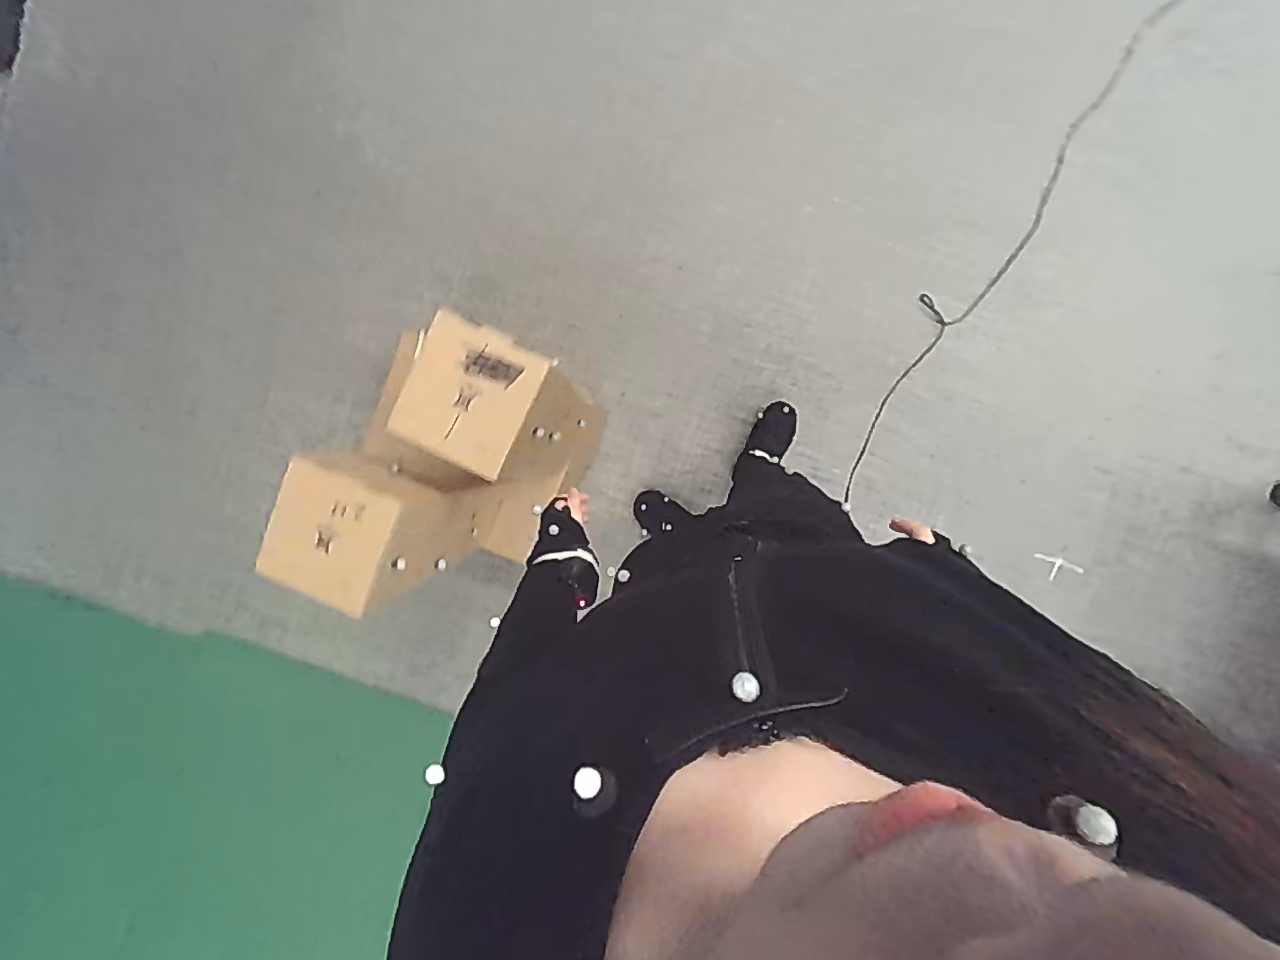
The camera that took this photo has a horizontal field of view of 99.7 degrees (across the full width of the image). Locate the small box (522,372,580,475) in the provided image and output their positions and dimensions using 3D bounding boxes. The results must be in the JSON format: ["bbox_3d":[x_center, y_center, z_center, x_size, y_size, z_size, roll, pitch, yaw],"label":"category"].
[{"bbox_3d":[-0.215,-0.124,0.948,0.168,0.176,0.179,26,95,2],"label":"small box"}]

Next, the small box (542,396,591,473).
[{"bbox_3d":[-0.216,-0.128,1.110,0.179,0.176,0.168,25,94,3],"label":"small box"}]

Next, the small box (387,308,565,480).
[{"bbox_3d":[-0.221,-0.116,0.783,0.168,0.176,0.179,26,95,2],"label":"small box"}]

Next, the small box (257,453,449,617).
[{"bbox_3d":[-0.413,0.071,0.808,0.168,0.176,0.179,23,96,3],"label":"small box"}]

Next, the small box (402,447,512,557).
[{"bbox_3d":[-0.398,0.040,1.137,0.179,0.176,0.168,25,96,3],"label":"small box"}]
